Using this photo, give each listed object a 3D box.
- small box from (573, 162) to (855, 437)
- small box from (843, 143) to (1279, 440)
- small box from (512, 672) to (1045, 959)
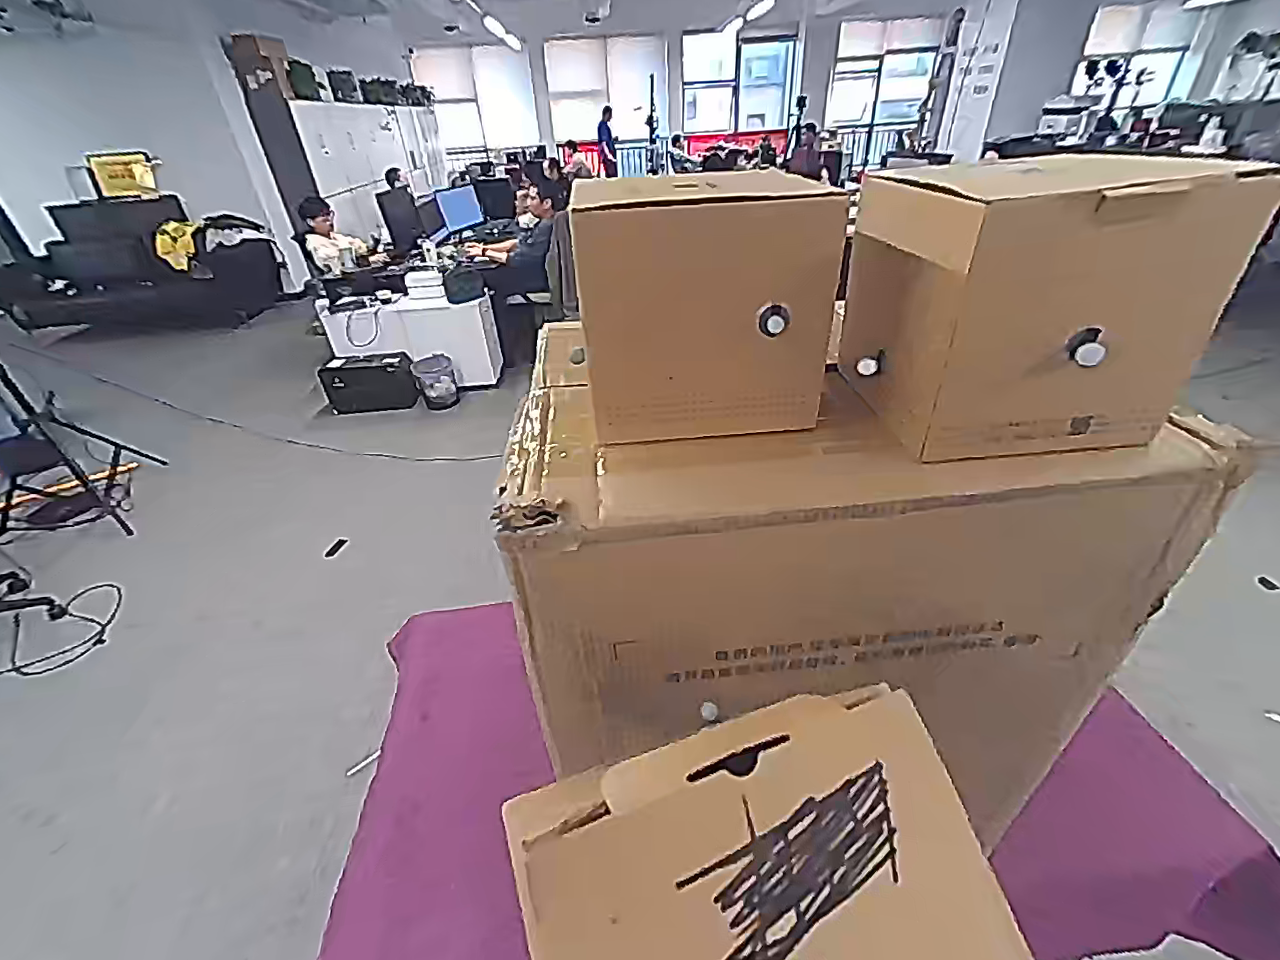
[{"bbox_3d":[0.044,-0.148,0.435,0.179,0.176,0.168,-5,33,-2],"label":"small box"},{"bbox_3d":[0.268,-0.138,0.400,0.168,0.176,0.179,-5,34,0],"label":"small box"},{"bbox_3d":[0.044,0.208,0.240,0.168,0.176,0.179,-11,67,-21],"label":"small box"}]
